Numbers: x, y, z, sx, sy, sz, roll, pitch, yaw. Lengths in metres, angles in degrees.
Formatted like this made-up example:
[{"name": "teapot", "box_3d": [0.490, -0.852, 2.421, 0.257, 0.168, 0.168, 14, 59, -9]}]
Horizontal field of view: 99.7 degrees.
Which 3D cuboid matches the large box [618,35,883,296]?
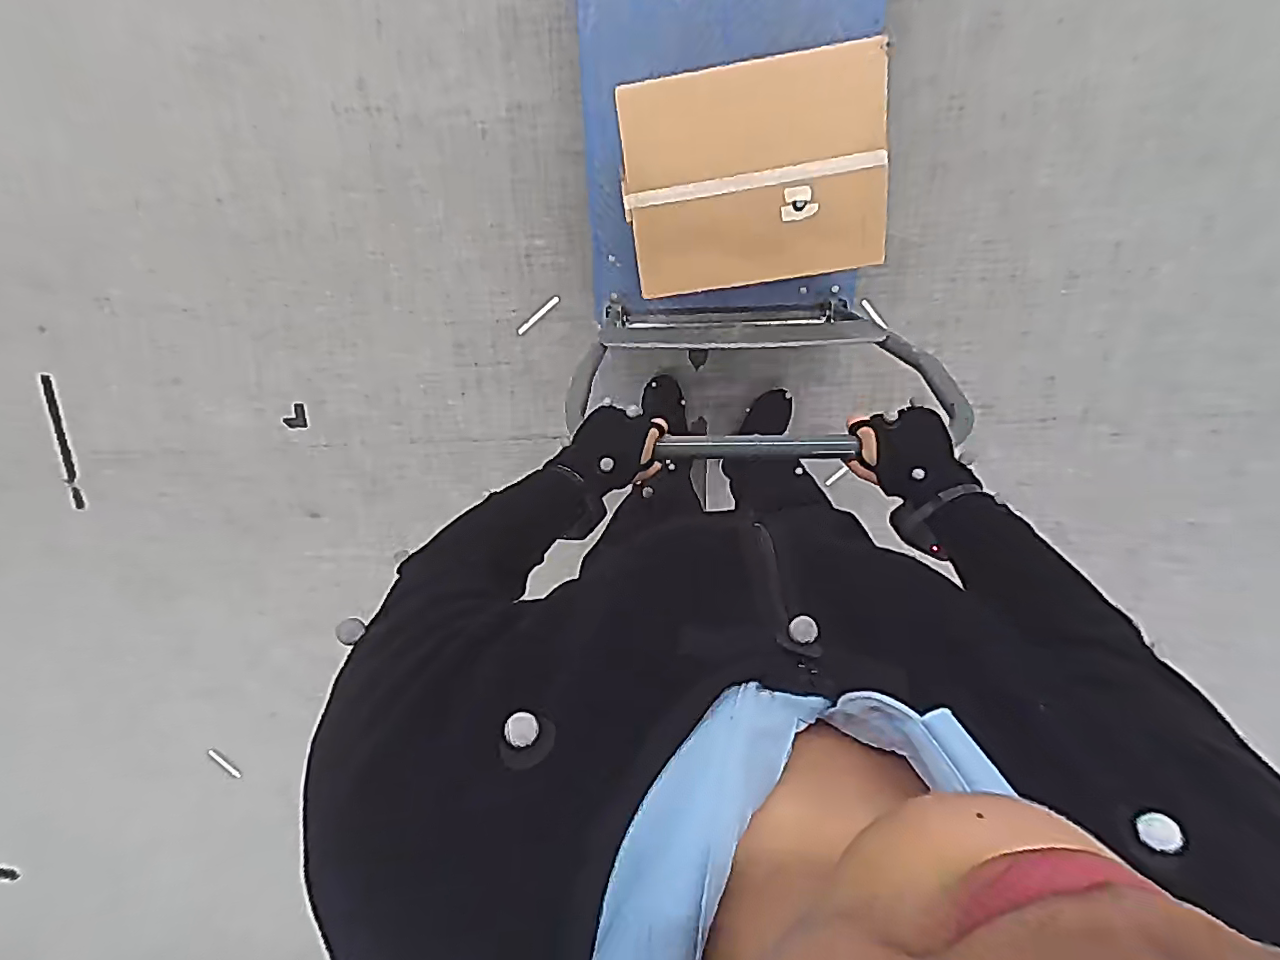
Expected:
[{"name": "large box", "box_3d": [0.191, -0.544, 1.006, 0.408, 0.320, 0.320, -7, 113, 6]}]
